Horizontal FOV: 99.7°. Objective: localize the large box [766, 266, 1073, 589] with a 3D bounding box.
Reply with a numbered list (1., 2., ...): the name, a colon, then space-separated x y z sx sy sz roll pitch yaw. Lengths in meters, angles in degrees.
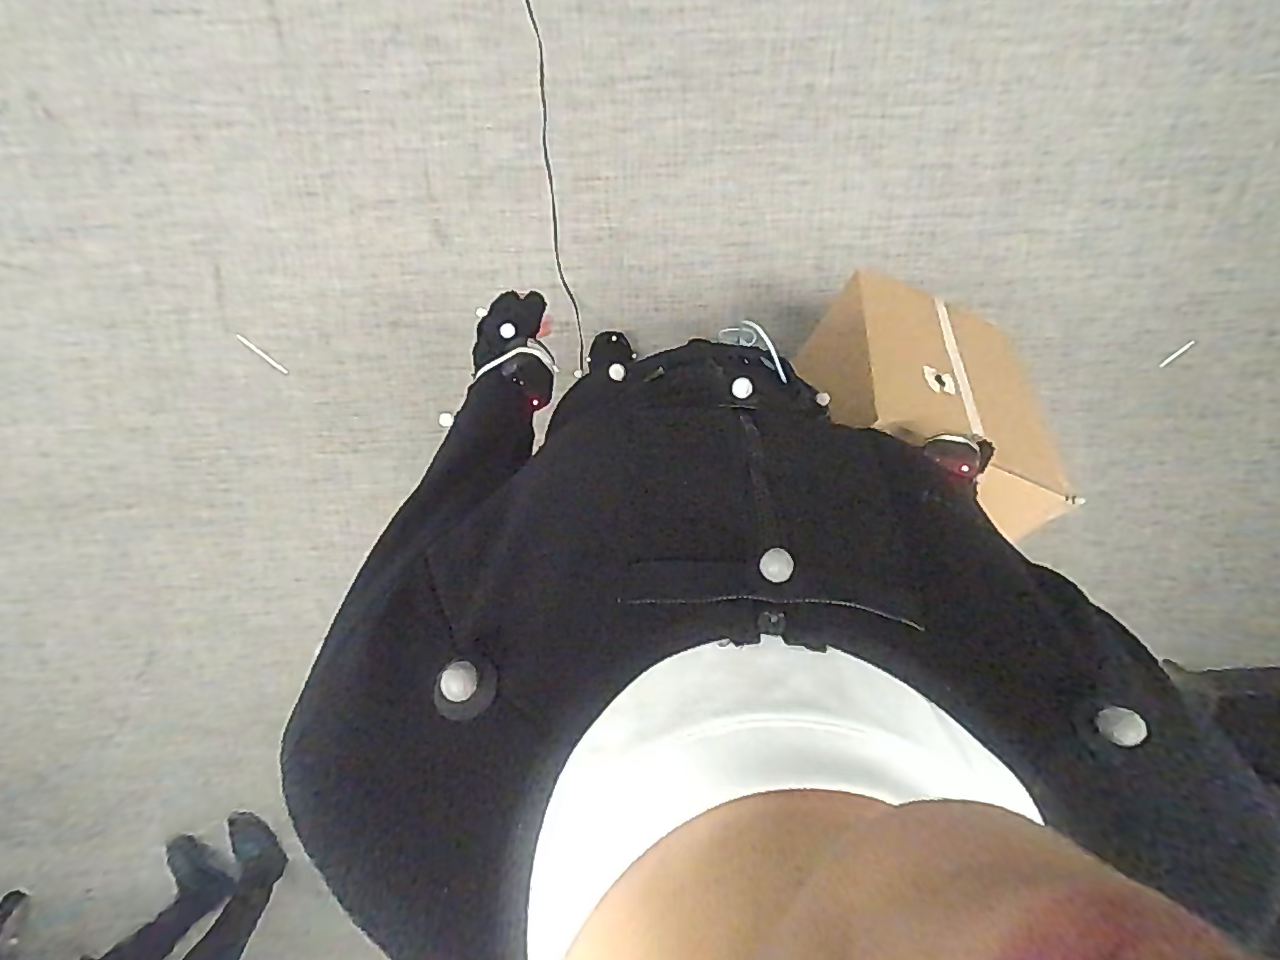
1. large box: 0.432 -0.086 0.945 0.320 0.408 0.320 20 141 -7
